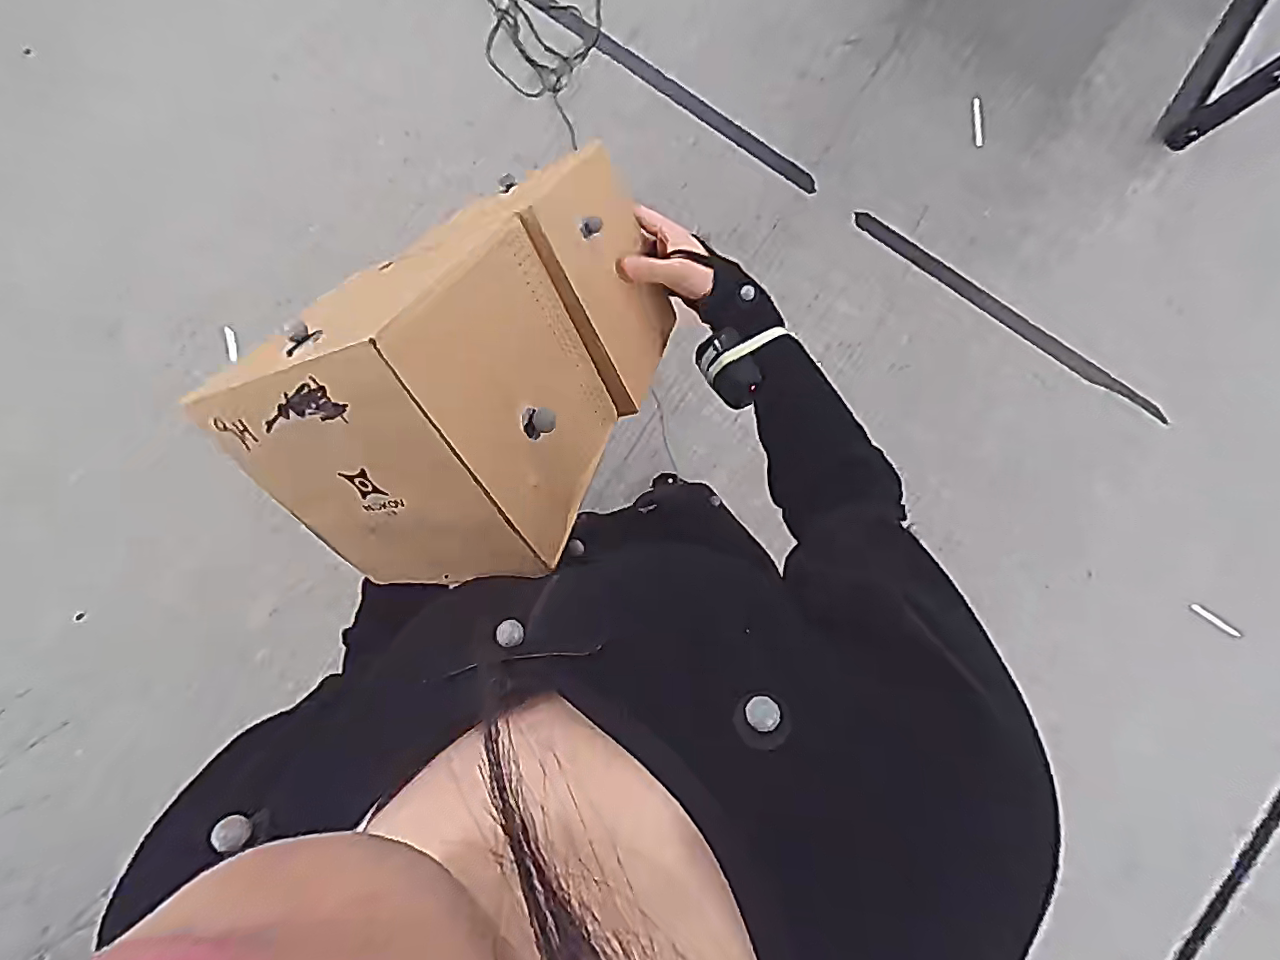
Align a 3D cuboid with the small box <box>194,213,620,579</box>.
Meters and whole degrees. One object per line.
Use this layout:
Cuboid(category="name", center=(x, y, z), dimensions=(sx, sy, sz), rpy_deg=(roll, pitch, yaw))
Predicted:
Cuboid(category="small box", center=(-0.131, -0.051, 0.378), dimensions=(0.168, 0.176, 0.179), rpy_deg=(-7, 131, 24))
